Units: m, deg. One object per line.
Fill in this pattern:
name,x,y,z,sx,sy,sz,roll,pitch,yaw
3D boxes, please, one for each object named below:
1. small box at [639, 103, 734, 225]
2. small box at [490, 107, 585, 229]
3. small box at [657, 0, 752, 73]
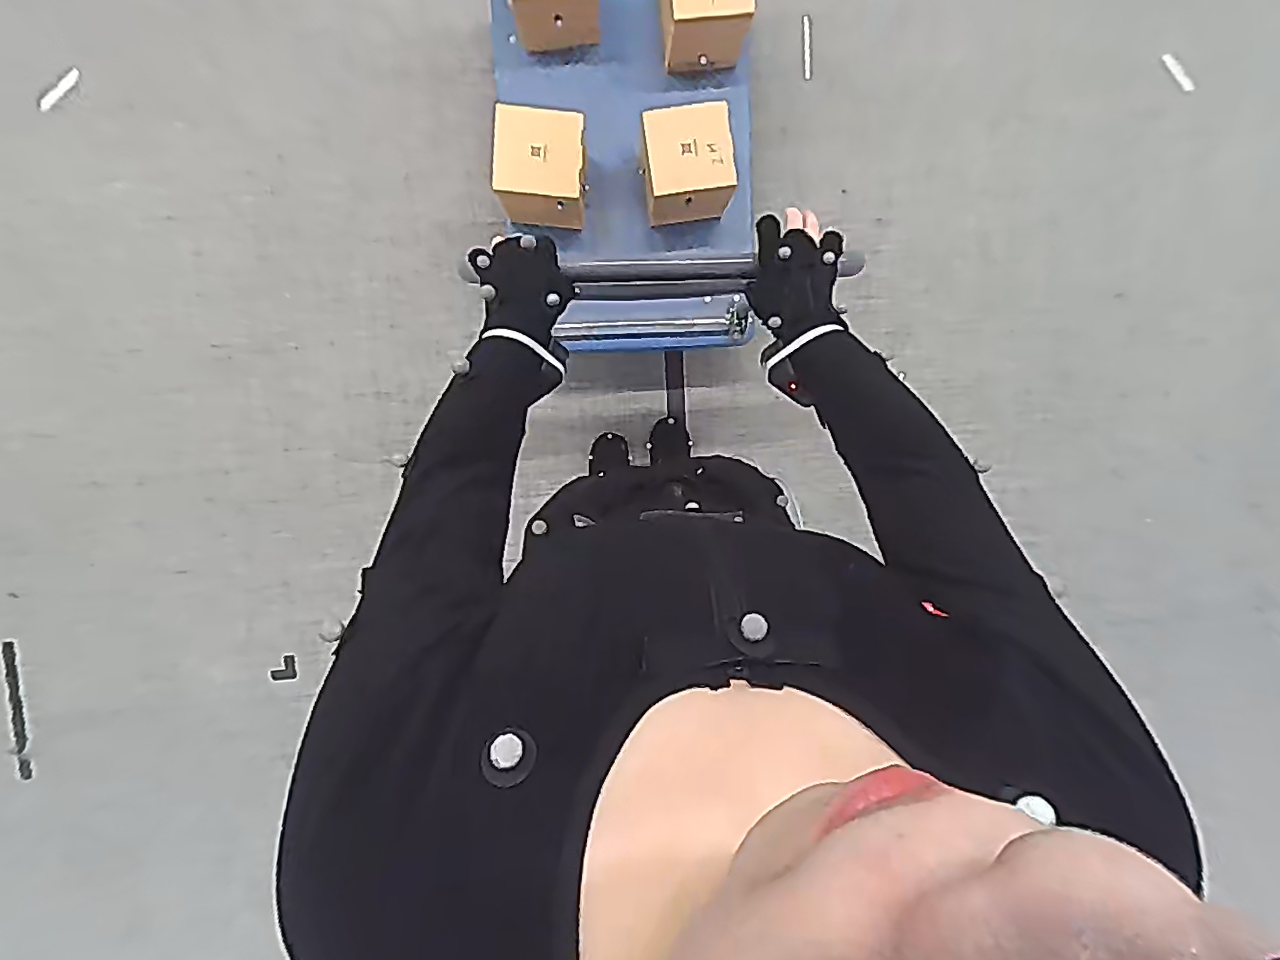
small box,0.092,-0.669,1.163,0.179,0.176,0.168,-9,96,-2
small box,-0.212,-0.653,1.150,0.179,0.176,0.168,3,95,-5
small box,0.128,-1.003,1.131,0.168,0.176,0.179,-7,97,-2
